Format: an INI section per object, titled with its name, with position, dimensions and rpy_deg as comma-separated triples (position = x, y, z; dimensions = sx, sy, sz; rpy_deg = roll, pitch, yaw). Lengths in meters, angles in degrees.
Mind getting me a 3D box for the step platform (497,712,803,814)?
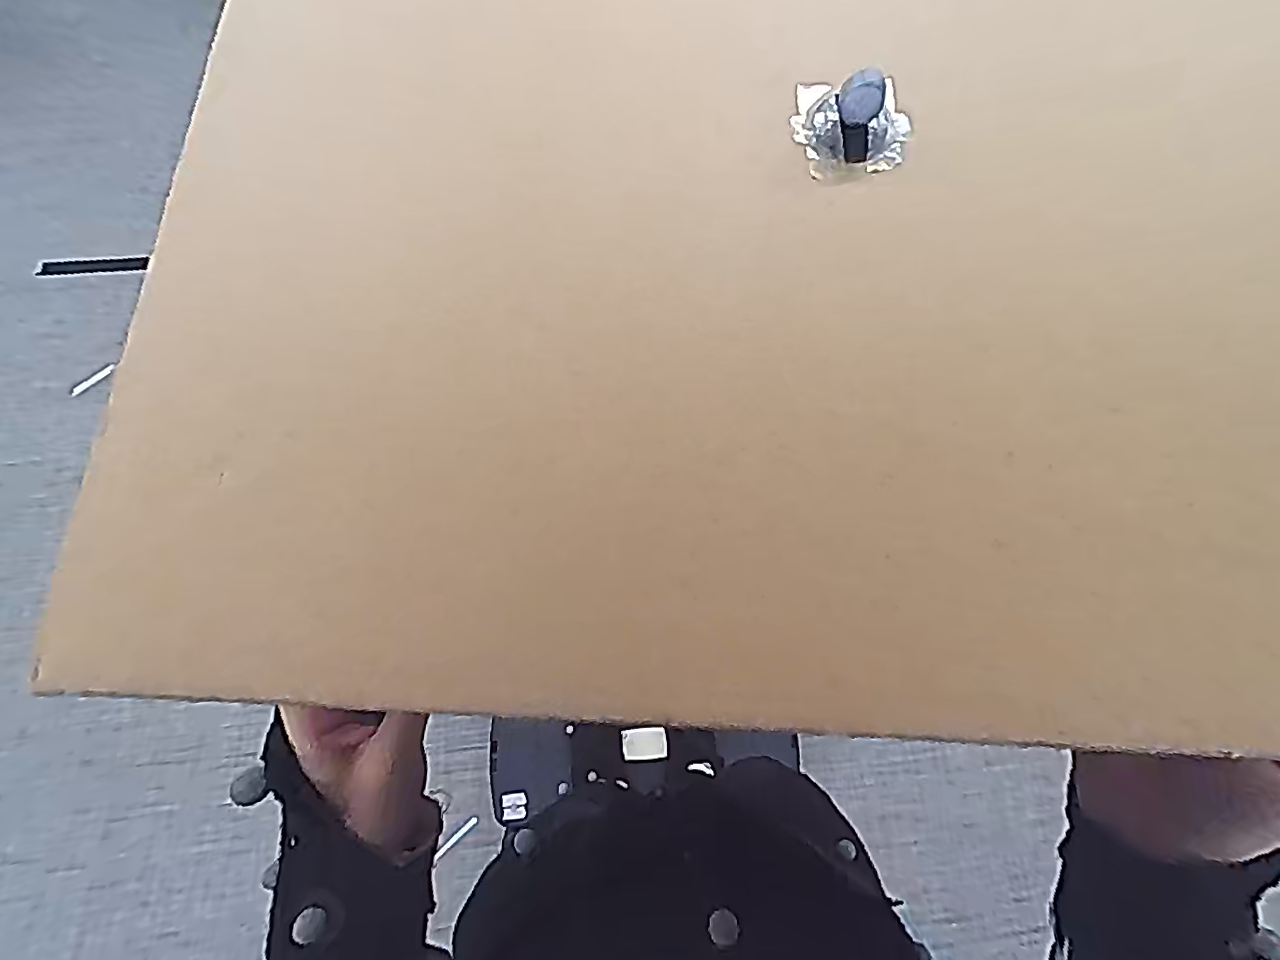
[step platform]
position = 0.021, 0.589, 1.248
dimensions = 0.684, 0.204, 0.286
rpy_deg = 1, 72, -2
